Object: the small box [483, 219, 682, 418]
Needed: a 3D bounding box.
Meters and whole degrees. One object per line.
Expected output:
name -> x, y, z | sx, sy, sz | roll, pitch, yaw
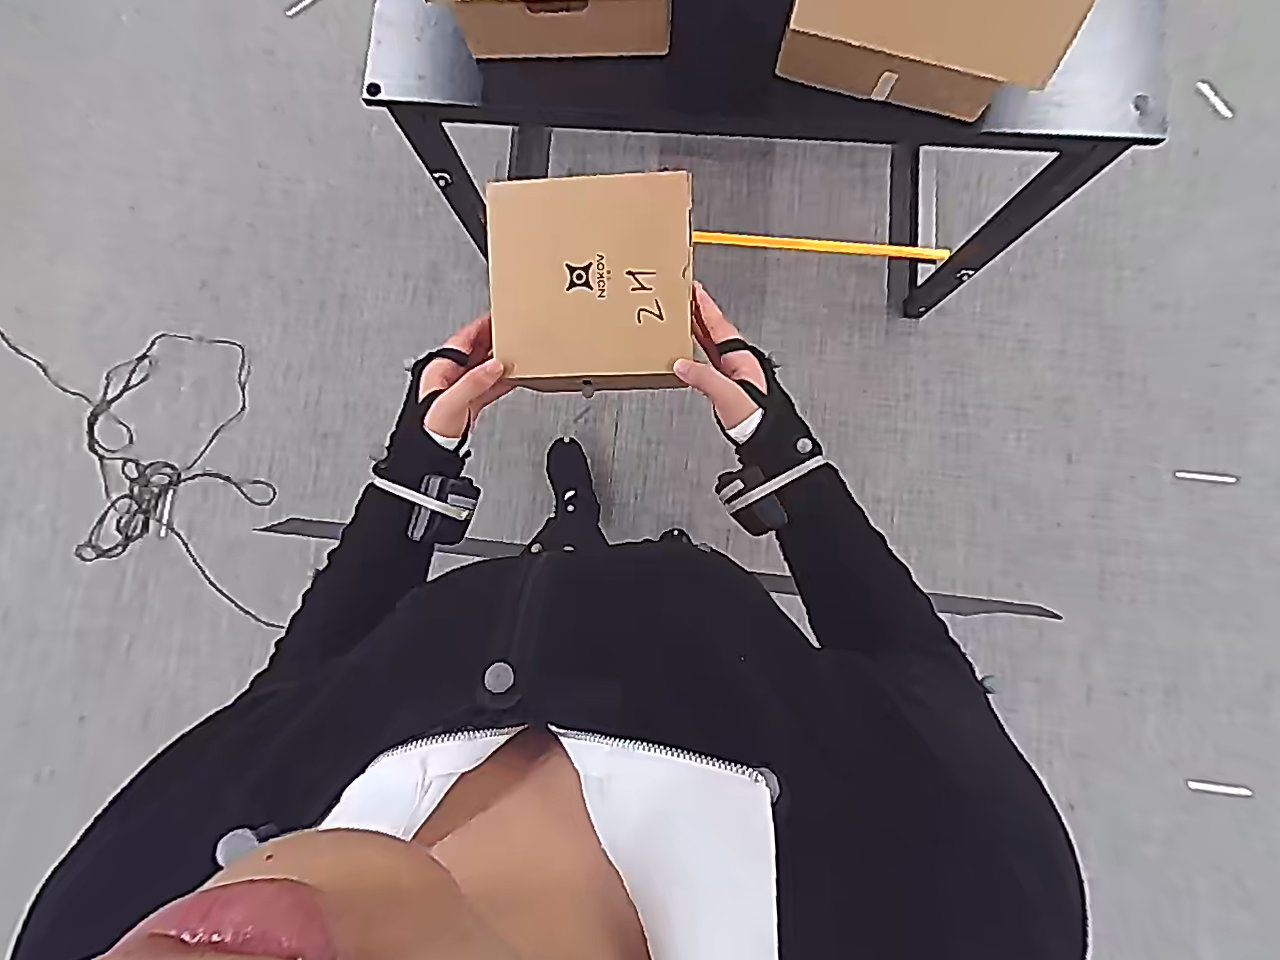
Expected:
small box -> -0.046, -0.149, 0.555 | 0.179, 0.176, 0.168 | 0, 96, 4
